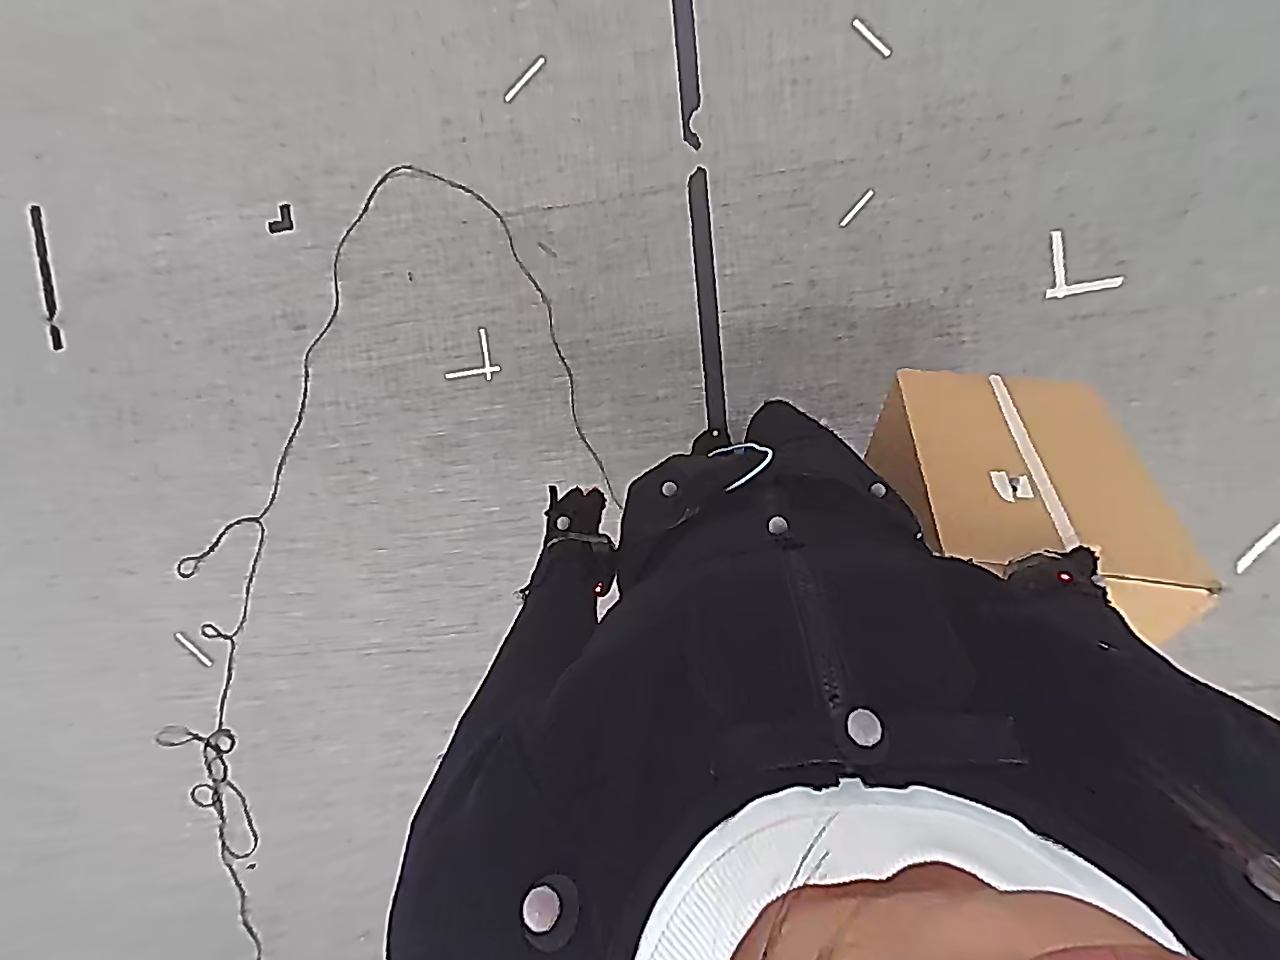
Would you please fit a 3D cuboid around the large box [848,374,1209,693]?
[{"bbox_3d":[0.554,0.077,0.891,0.320,0.408,0.320,5,138,9],"label":"large box"}]
